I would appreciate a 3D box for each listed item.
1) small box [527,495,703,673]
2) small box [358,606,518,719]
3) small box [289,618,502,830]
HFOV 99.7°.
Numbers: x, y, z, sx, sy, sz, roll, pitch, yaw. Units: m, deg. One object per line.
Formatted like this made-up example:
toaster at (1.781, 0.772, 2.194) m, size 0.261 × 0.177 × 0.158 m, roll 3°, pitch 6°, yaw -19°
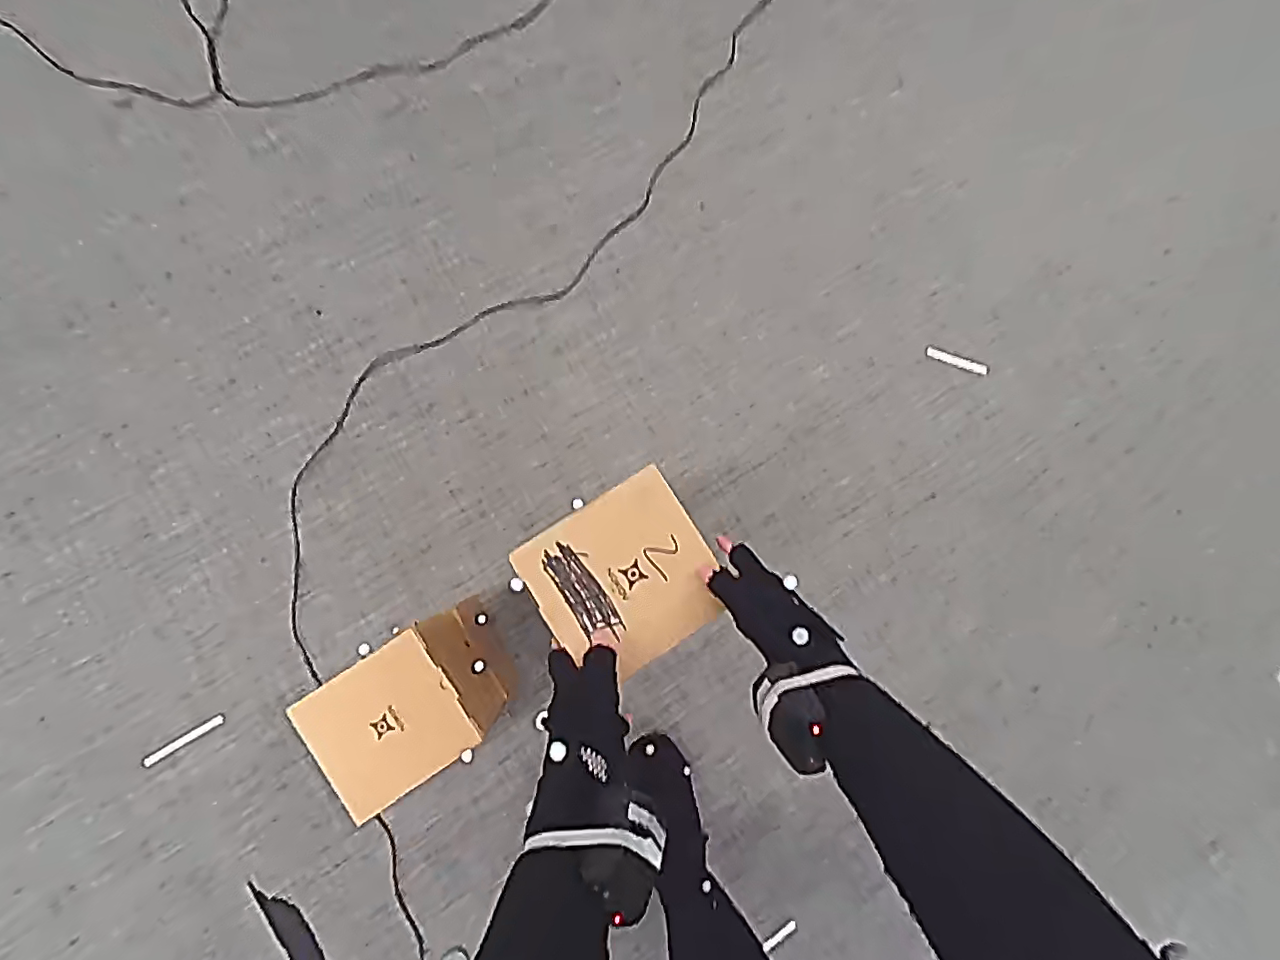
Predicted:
small box at (-0.040, 0.138, 0.770) m, size 0.179 × 0.176 × 0.168 m, roll -34°, pitch 88°, yaw -9°
small box at (-0.320, 0.322, 0.892) m, size 0.168 × 0.176 × 0.179 m, roll -30°, pitch 88°, yaw -7°
small box at (-0.311, 0.310, 0.730) m, size 0.179 × 0.176 × 0.168 m, roll -34°, pitch 88°, yaw -7°
